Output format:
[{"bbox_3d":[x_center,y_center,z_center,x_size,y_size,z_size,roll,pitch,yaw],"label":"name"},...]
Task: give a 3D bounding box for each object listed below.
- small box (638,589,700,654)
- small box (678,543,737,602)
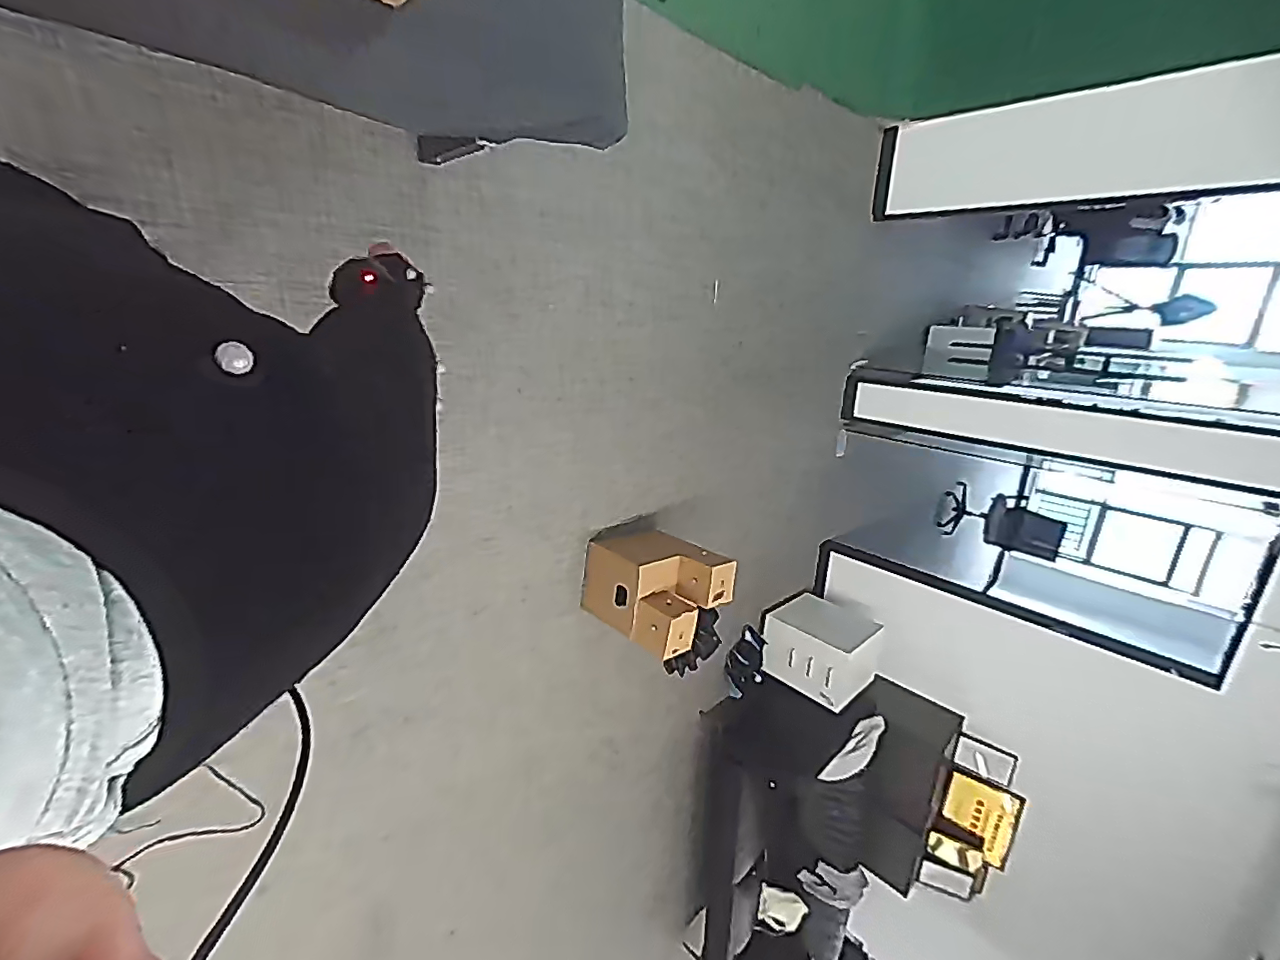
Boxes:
[{"bbox_3d":[0.108,0.539,2.096,0.168,0.176,0.179,-7,109,-47],"label":"small box"},{"bbox_3d":[0.274,0.375,2.219,0.168,0.176,0.179,-6,105,-46],"label":"small box"}]
